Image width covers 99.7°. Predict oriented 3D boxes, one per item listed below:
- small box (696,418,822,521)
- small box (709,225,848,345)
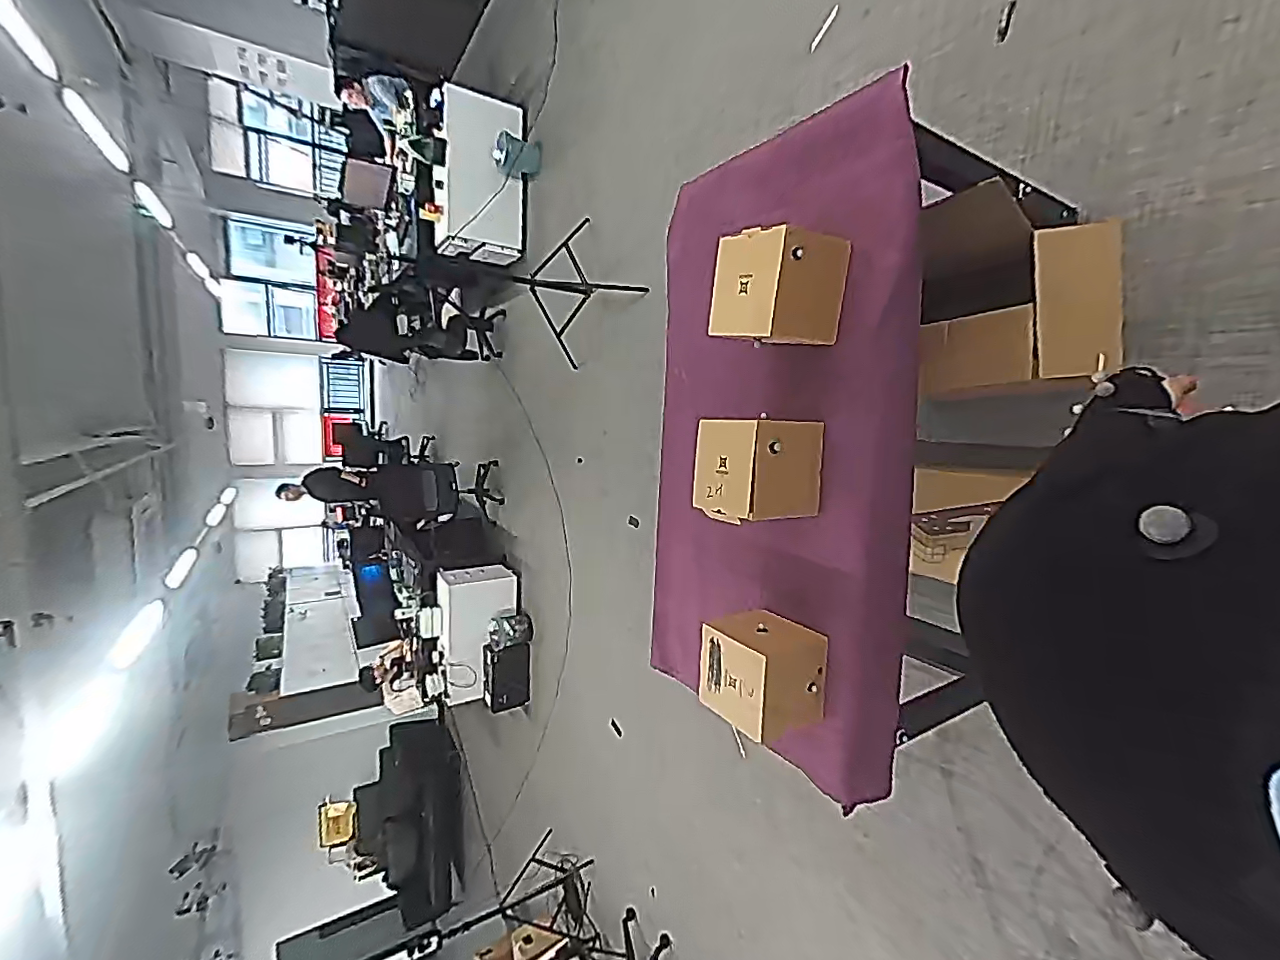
[{"bbox_3d":[0.226,-0.026,1.027,0.168,0.176,0.179,12,102,60],"label":"small box"},{"bbox_3d":[0.248,-0.339,0.973,0.168,0.176,0.179,24,111,55],"label":"small box"}]
